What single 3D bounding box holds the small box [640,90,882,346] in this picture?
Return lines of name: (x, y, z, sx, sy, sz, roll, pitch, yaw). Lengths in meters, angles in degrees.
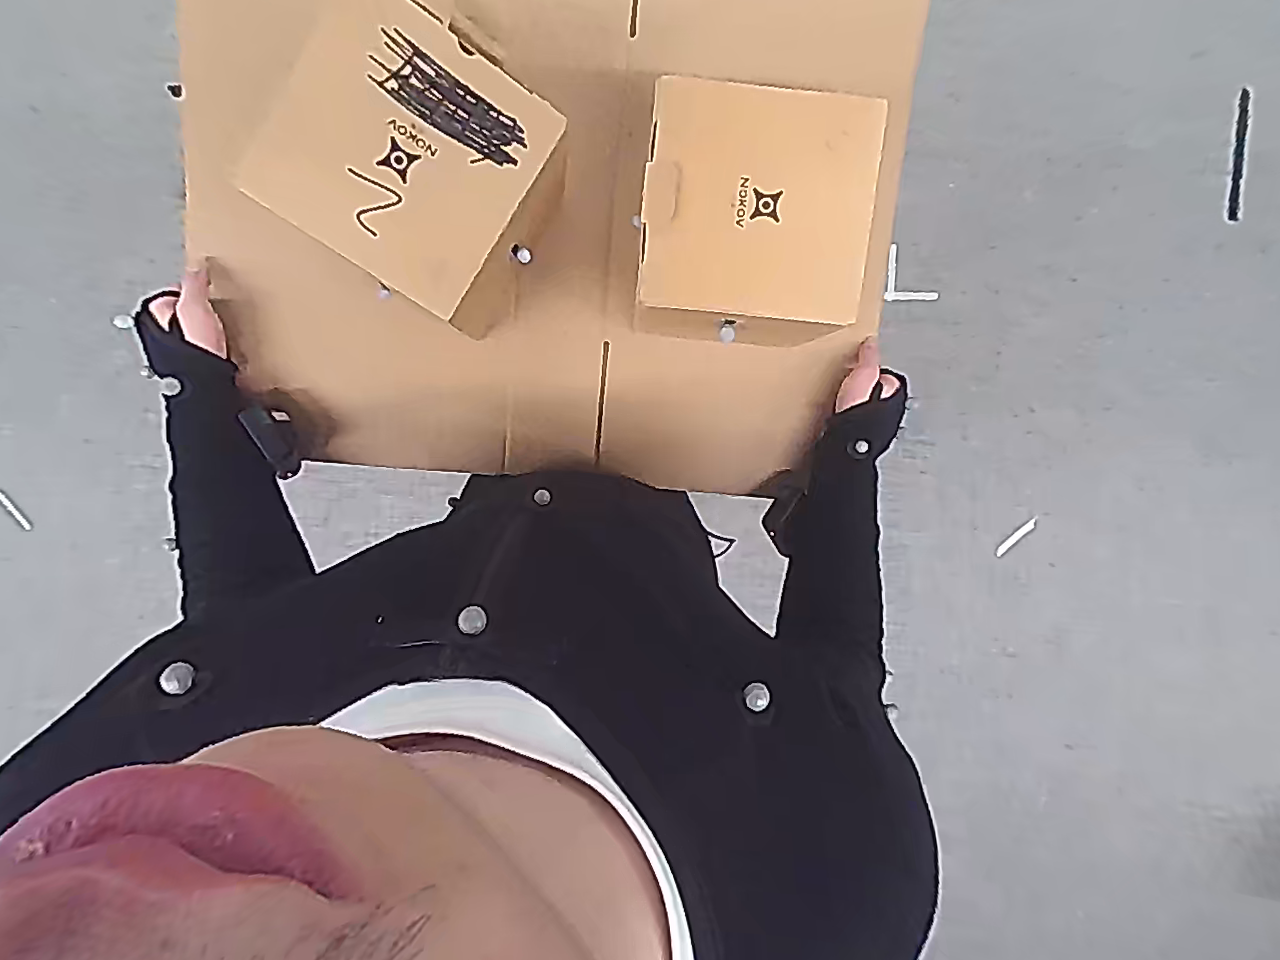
small box: (0.095, -0.224, 0.509, 0.179, 0.176, 0.168, 5, 97, -1)
